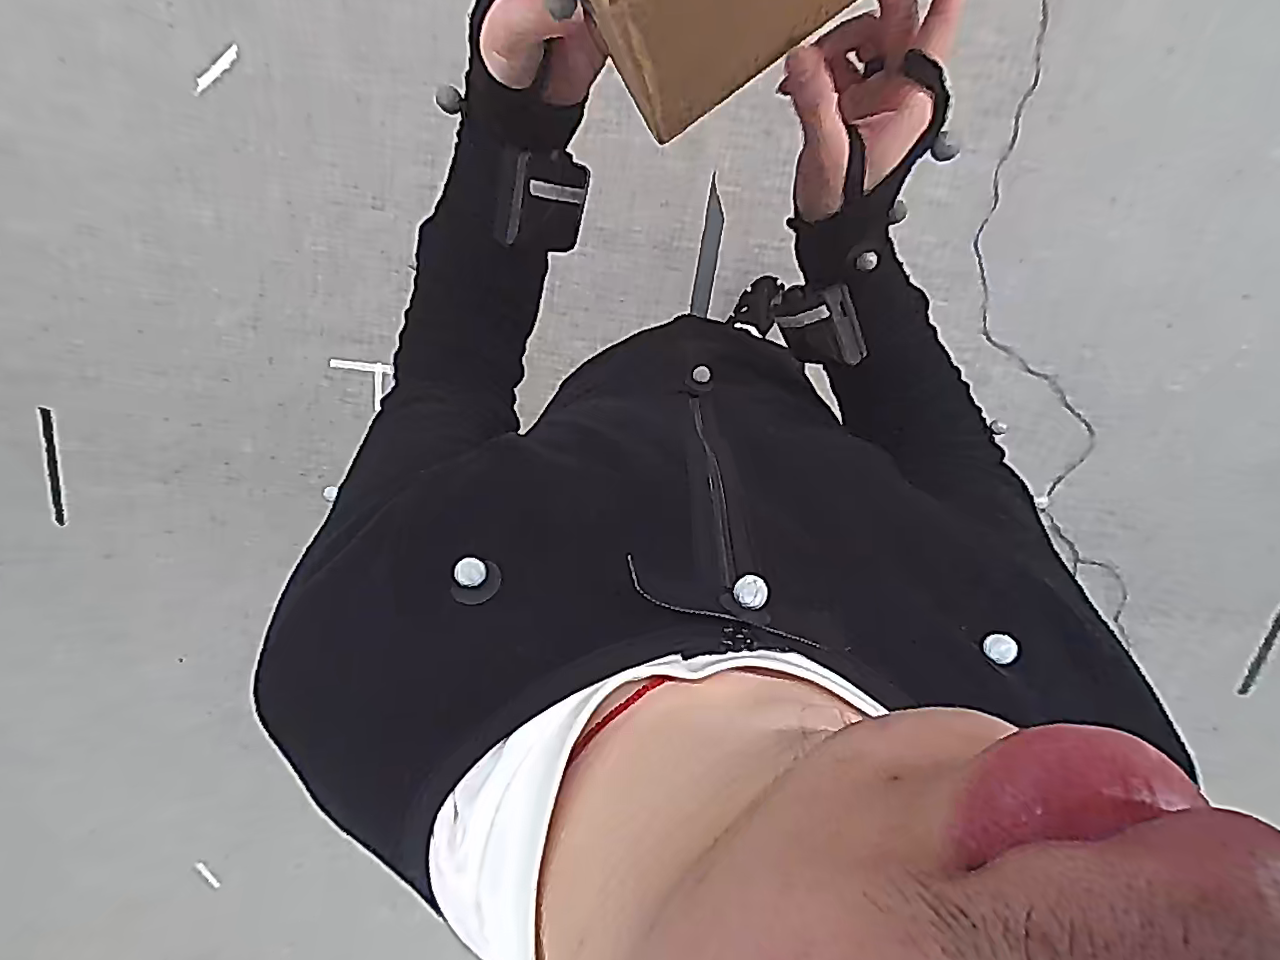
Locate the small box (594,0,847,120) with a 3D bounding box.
[{"bbox_3d":[0.036,-0.276,0.195,0.179,0.176,0.168,-29,105,15],"label":"small box"}]
